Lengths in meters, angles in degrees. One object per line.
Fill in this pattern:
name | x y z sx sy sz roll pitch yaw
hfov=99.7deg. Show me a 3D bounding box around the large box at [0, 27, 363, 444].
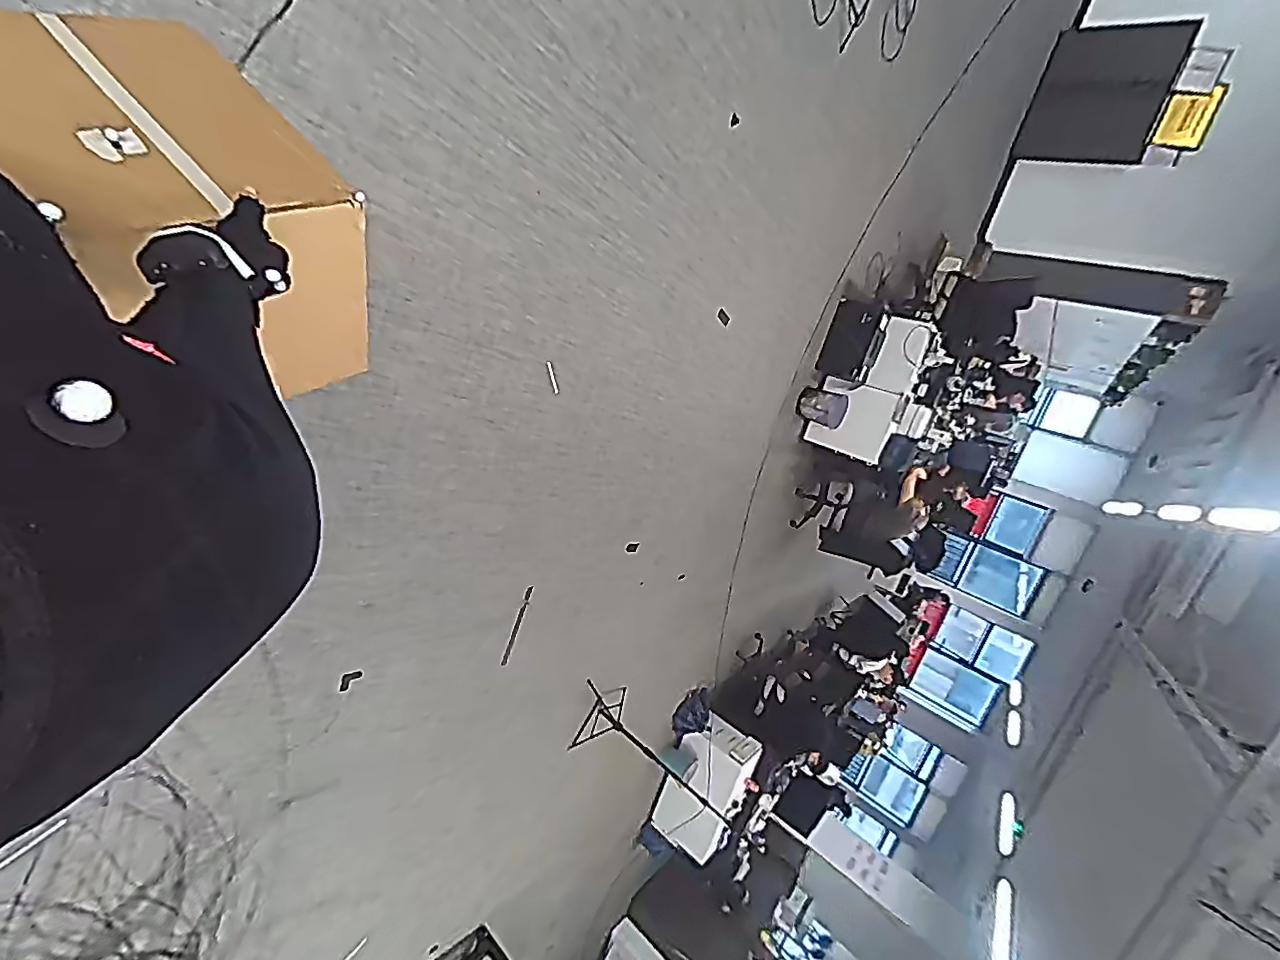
large box | -0.647 -0.330 0.747 0.320 0.408 0.320 -37 169 -39
